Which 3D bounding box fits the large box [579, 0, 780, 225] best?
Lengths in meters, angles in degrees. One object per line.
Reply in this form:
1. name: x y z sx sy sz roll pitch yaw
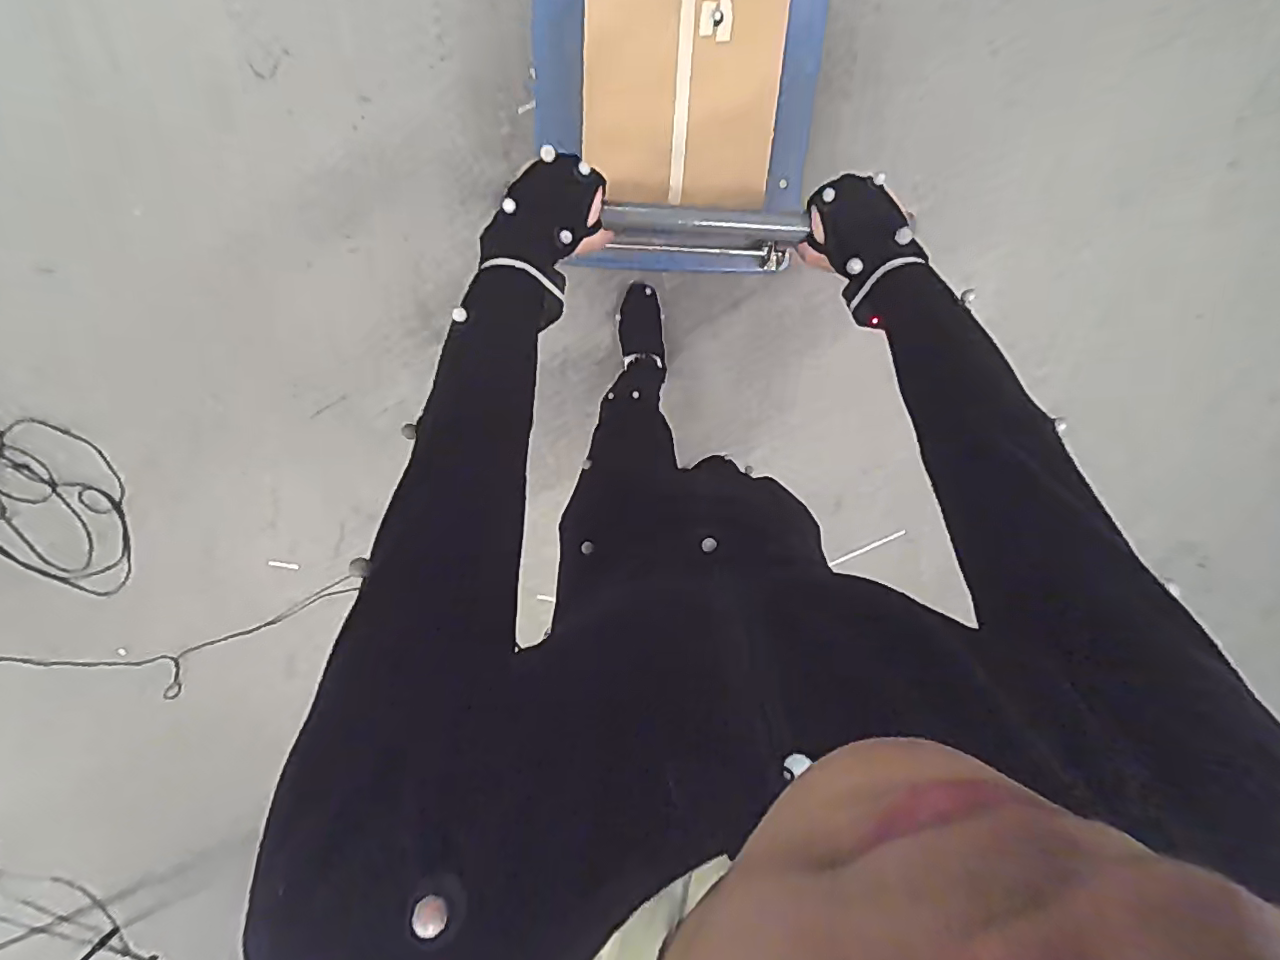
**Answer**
1. large box: 0.060 -0.712 1.009 0.320 0.320 0.408 3 111 -2
